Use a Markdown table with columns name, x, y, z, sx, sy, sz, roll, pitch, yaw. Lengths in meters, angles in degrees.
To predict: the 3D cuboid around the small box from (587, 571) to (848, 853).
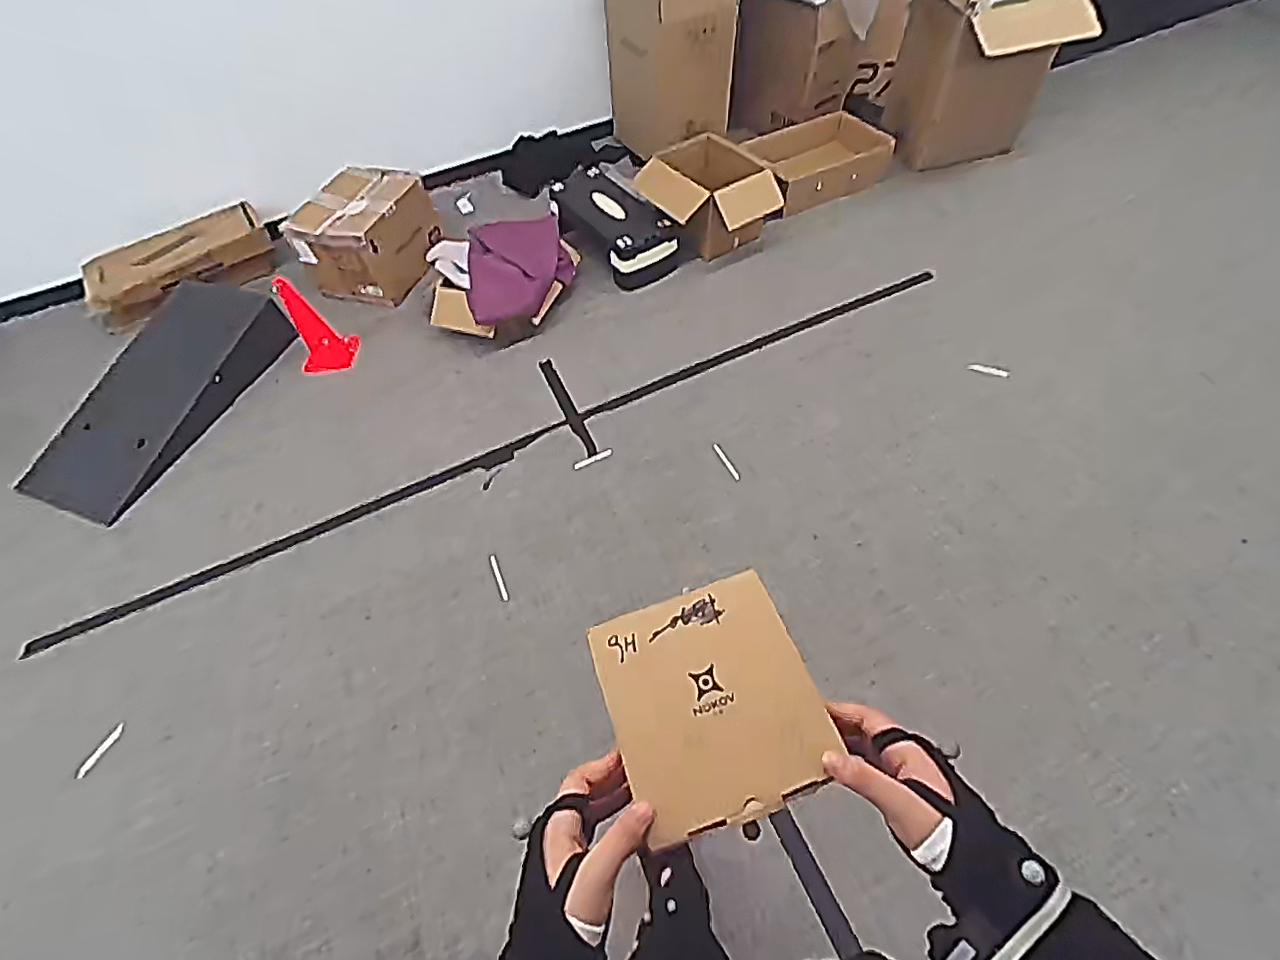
| name | x | y | z | sx | sy | sz | roll | pitch | yaw |
| --- | --- | --- | --- | --- | --- | --- | --- | --- | --- |
| small box | 0.064 | 0.217 | 0.507 | 0.168 | 0.176 | 0.179 | -19 | 57 | -5 |
